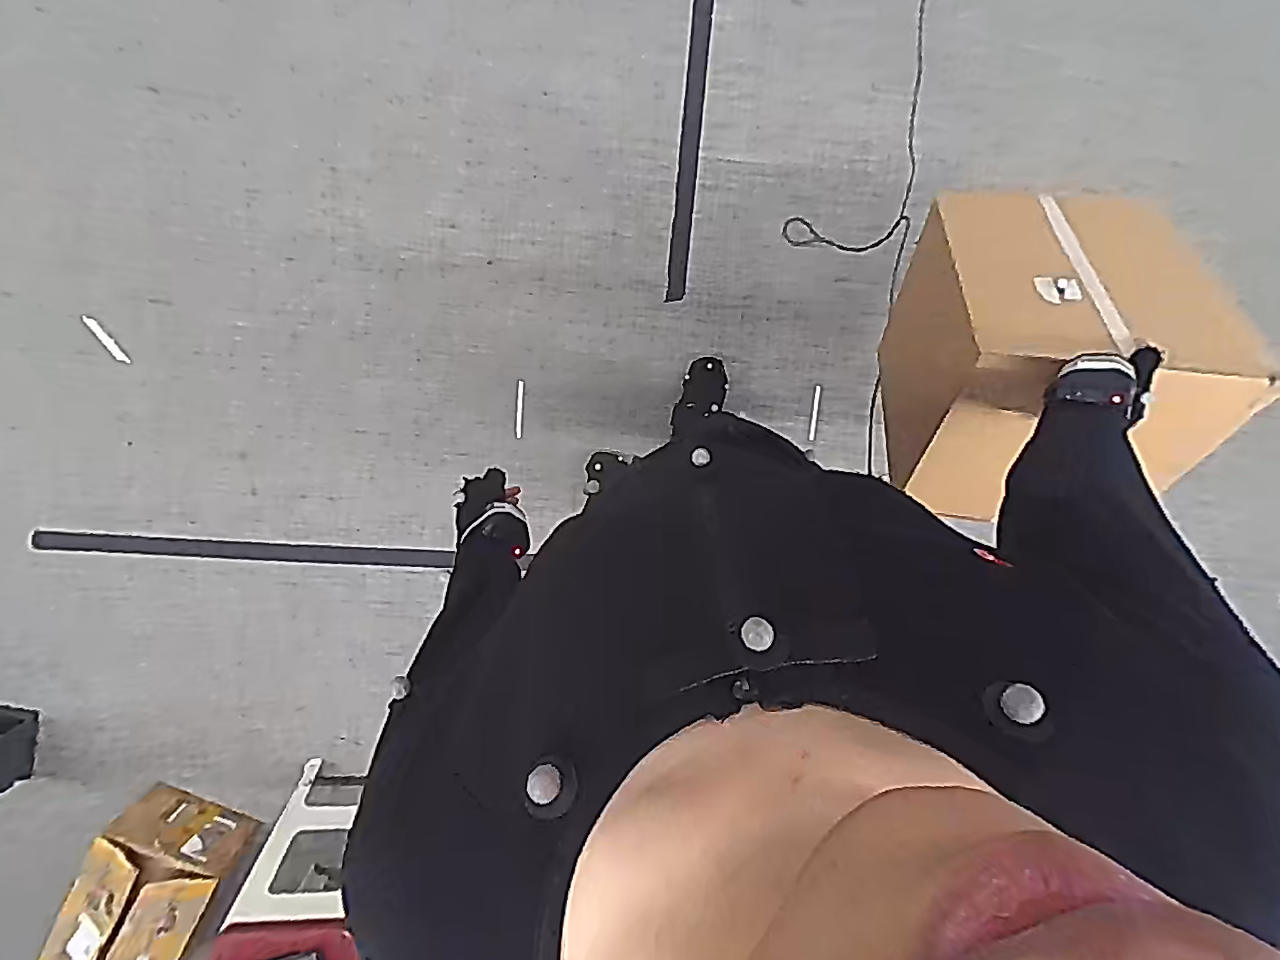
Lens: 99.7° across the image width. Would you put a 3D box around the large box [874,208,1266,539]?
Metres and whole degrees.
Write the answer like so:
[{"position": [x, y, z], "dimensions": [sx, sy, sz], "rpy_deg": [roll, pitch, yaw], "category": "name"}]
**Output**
[{"position": [0.592, -0.172, 0.859], "dimensions": [0.320, 0.320, 0.408], "rpy_deg": [8, 54, 8], "category": "large box"}]
